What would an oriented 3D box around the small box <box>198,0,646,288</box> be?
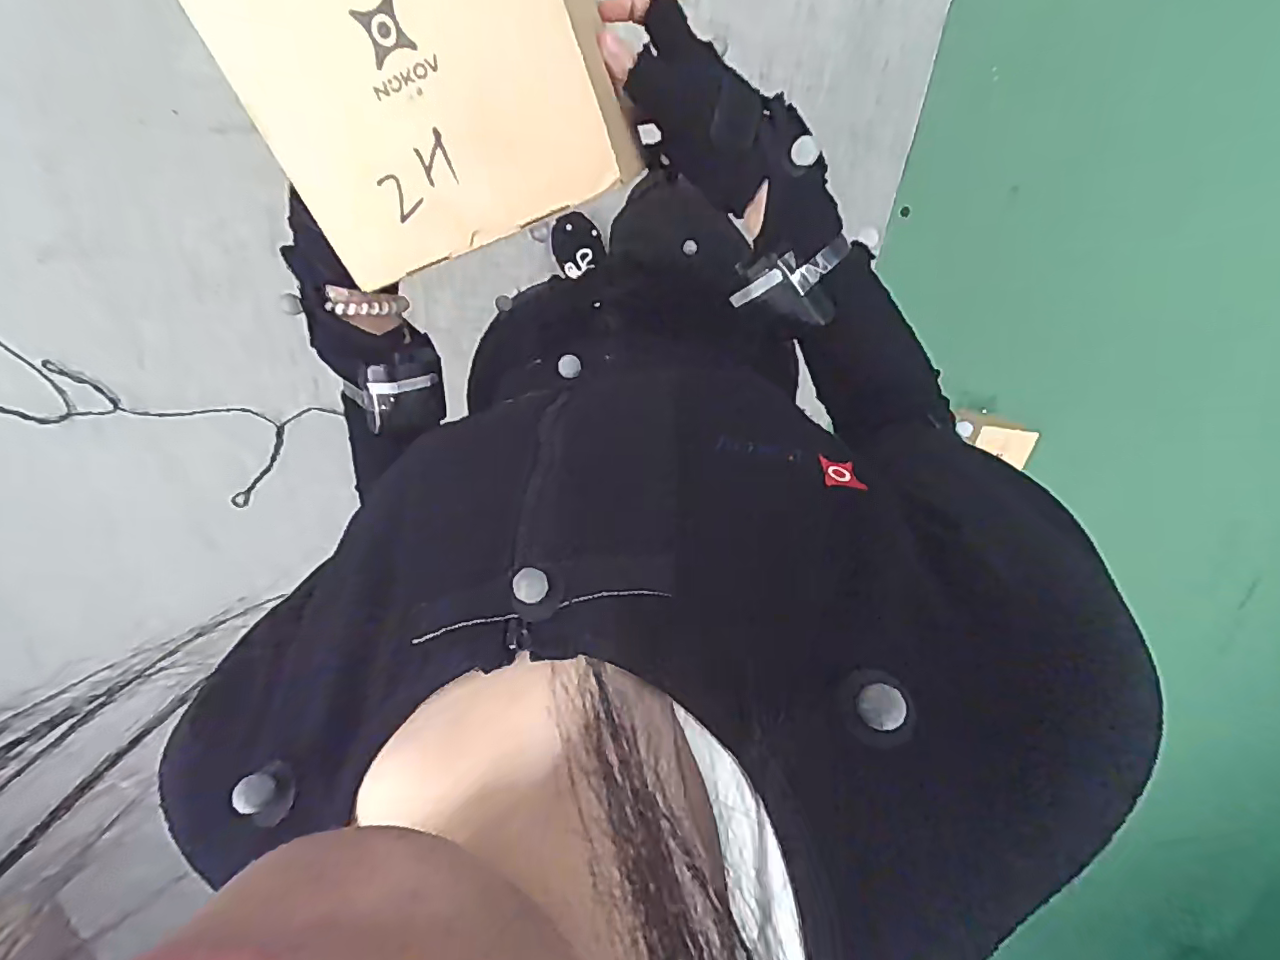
[{"bbox_3d":[-0.102,-0.241,0.319,0.168,0.176,0.179,-14,121,15],"label":"small box"}]
